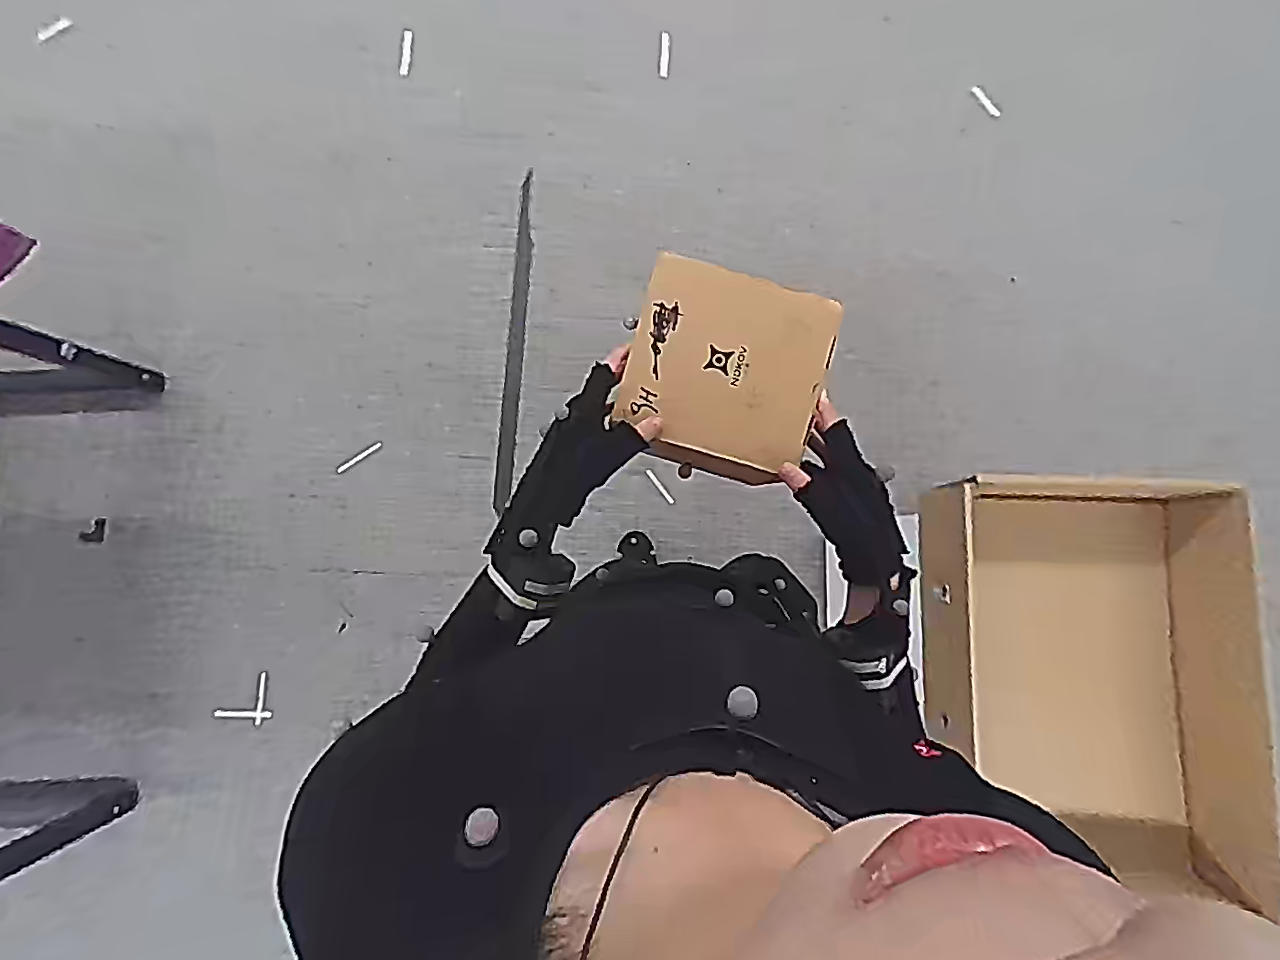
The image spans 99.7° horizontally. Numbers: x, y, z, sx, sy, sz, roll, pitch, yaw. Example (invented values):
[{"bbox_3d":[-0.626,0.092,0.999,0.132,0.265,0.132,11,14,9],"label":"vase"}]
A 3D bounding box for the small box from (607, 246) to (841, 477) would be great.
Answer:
[{"bbox_3d":[0.072,-0.103,0.554,0.179,0.176,0.168,15,86,-1],"label":"small box"}]
